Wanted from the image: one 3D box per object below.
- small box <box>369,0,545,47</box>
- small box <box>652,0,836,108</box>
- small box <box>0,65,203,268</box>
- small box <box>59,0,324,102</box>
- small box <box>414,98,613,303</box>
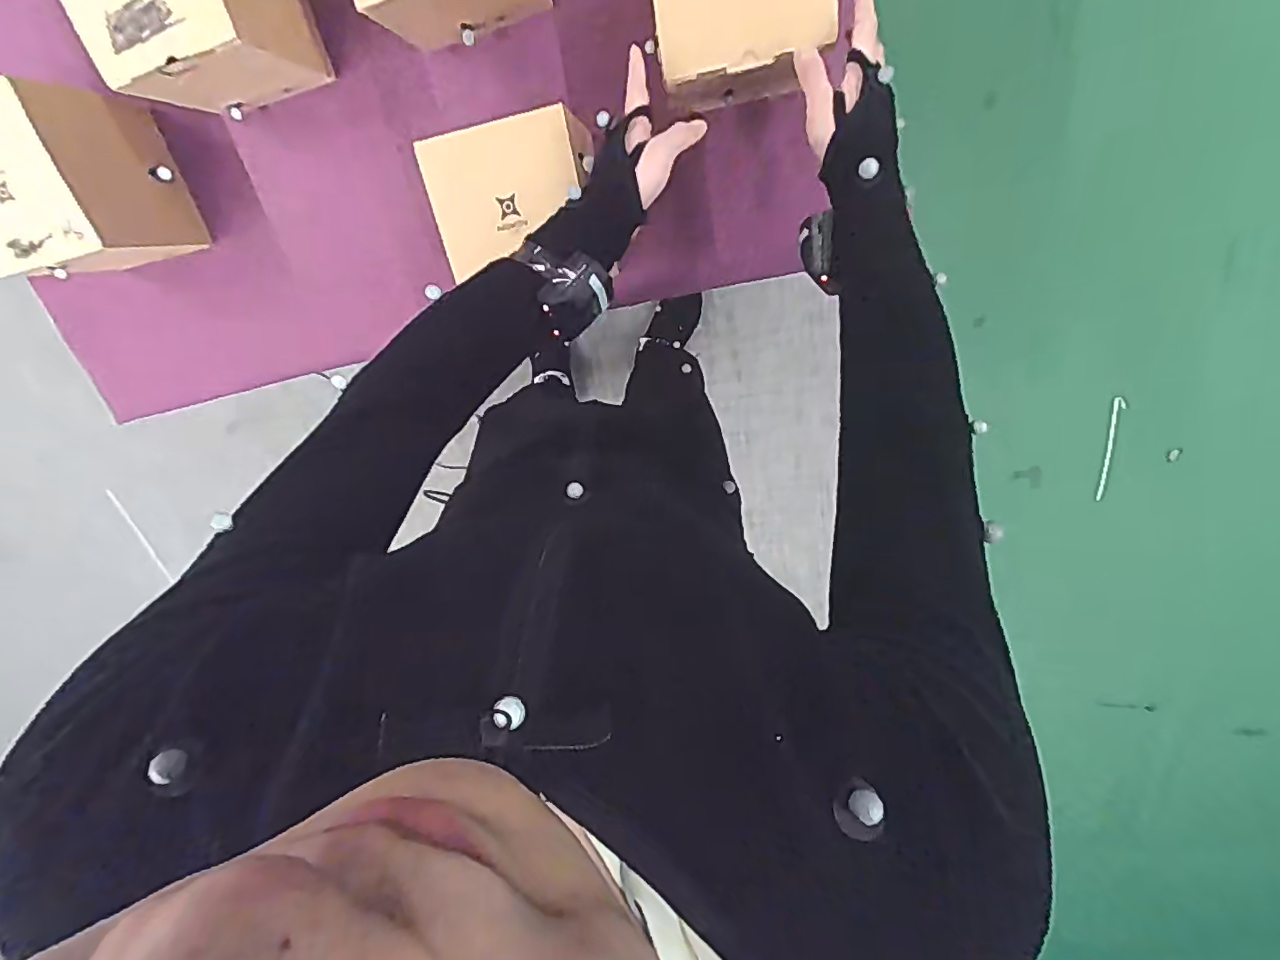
[{"bbox_3d":[-0.210,-0.581,0.539,0.168,0.176,0.179,-10,115,10],"label":"small box"},{"bbox_3d":[0.094,-0.509,0.548,0.168,0.176,0.179,-7,115,8],"label":"small box"},{"bbox_3d":[-0.716,-0.373,0.675,0.168,0.176,0.179,-8,114,10],"label":"small box"},{"bbox_3d":[-0.487,-0.535,0.582,0.168,0.176,0.179,-10,113,9],"label":"small box"},{"bbox_3d":[-0.136,-0.323,0.653,0.168,0.176,0.179,-8,113,9],"label":"small box"}]
